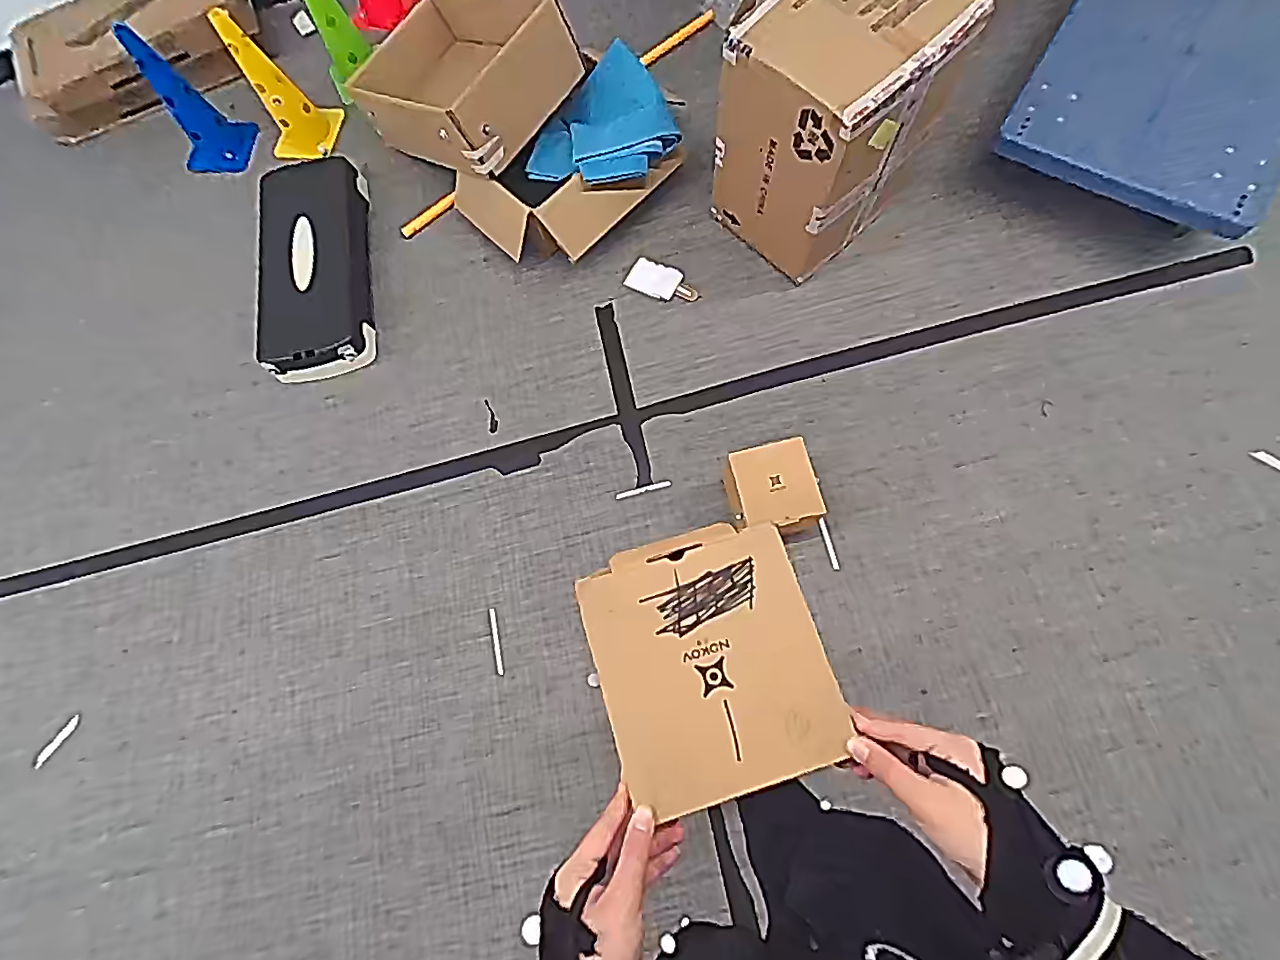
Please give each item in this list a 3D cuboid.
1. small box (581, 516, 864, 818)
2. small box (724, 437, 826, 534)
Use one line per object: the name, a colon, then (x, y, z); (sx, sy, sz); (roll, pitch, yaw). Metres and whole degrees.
small box: (0.054, 0.152, 0.467); (0.168, 0.176, 0.179); (-16, 73, -4)
small box: (0.289, 0.028, 1.203); (0.168, 0.176, 0.179); (-14, 74, 1)
